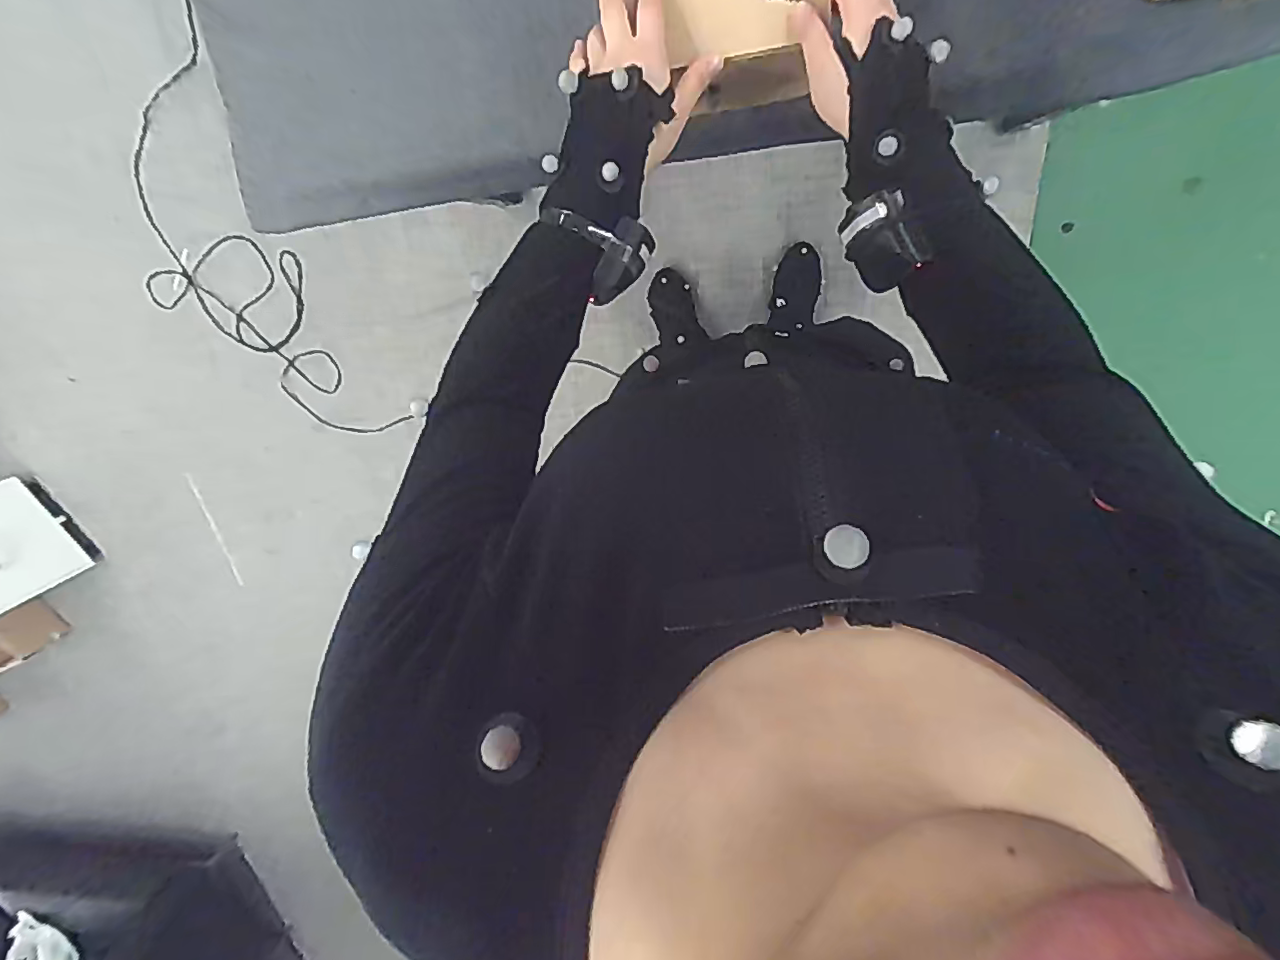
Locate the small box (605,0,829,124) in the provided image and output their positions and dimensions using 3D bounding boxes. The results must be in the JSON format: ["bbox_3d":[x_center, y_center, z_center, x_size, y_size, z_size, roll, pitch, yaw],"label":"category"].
[{"bbox_3d":[0.068,-0.439,0.481,0.179,0.176,0.168,-2,112,13],"label":"small box"}]
